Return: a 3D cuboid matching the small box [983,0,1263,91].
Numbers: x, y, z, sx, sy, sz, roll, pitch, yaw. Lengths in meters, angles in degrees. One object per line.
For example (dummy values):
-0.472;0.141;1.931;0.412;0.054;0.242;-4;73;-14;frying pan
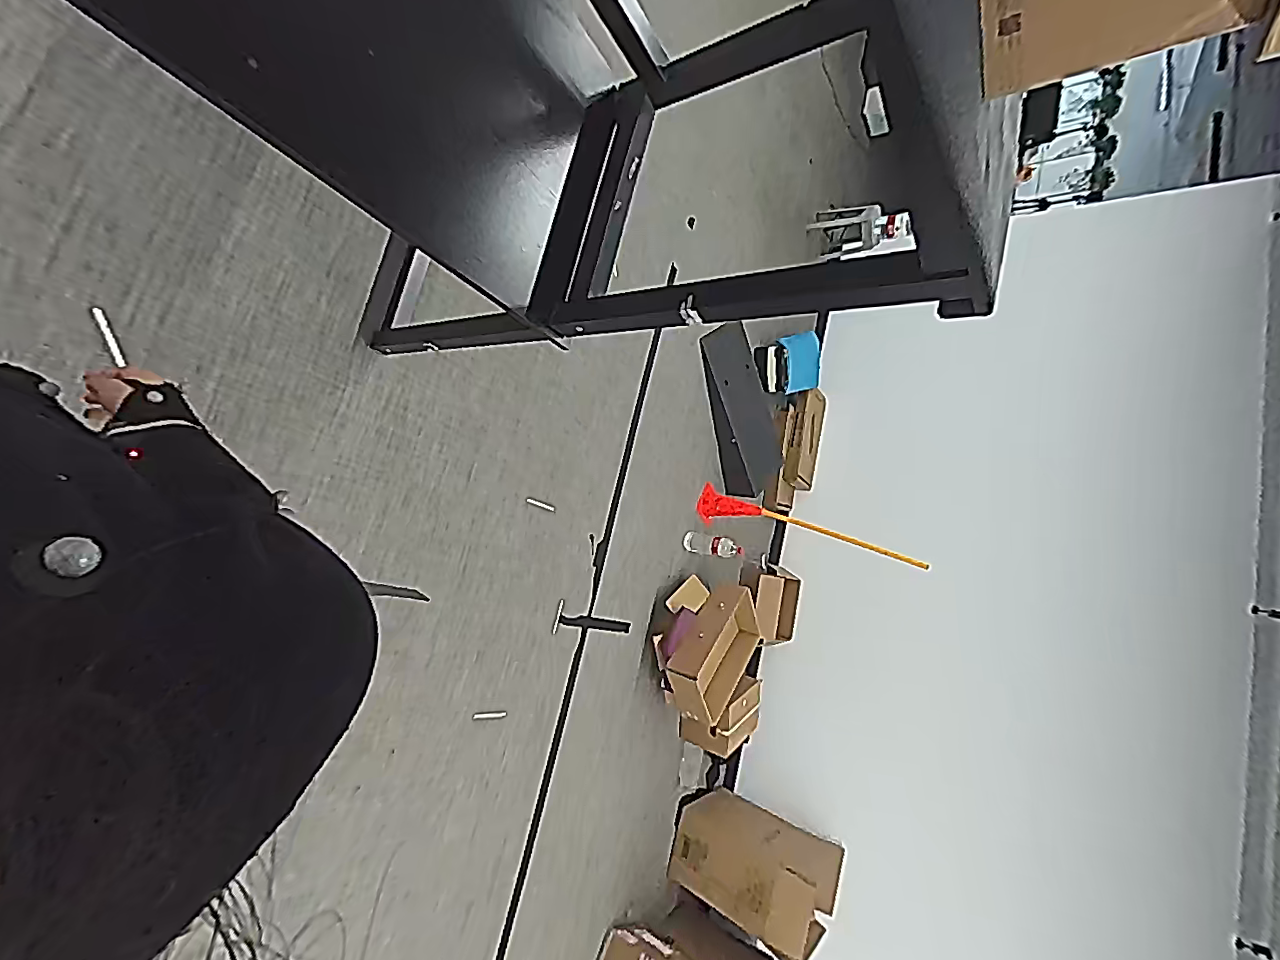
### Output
0.349;-0.433;0.386;0.168;0.176;0.179;34;66;-51;small box
